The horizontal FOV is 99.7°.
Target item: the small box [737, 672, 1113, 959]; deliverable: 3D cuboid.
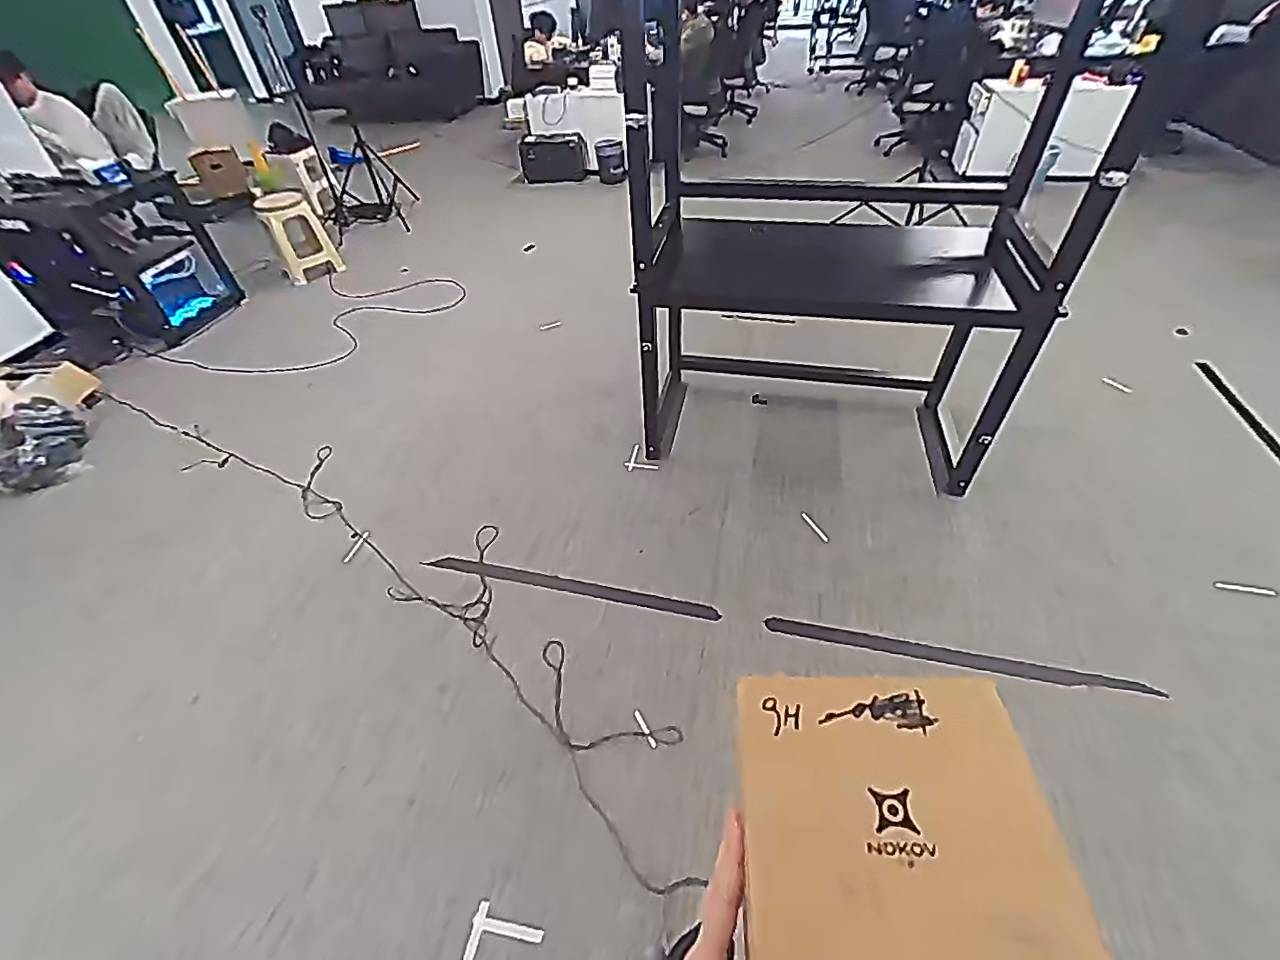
[{"bbox_3d":[0.150,0.245,0.350,0.168,0.176,0.179,-2,45,7],"label":"small box"}]
